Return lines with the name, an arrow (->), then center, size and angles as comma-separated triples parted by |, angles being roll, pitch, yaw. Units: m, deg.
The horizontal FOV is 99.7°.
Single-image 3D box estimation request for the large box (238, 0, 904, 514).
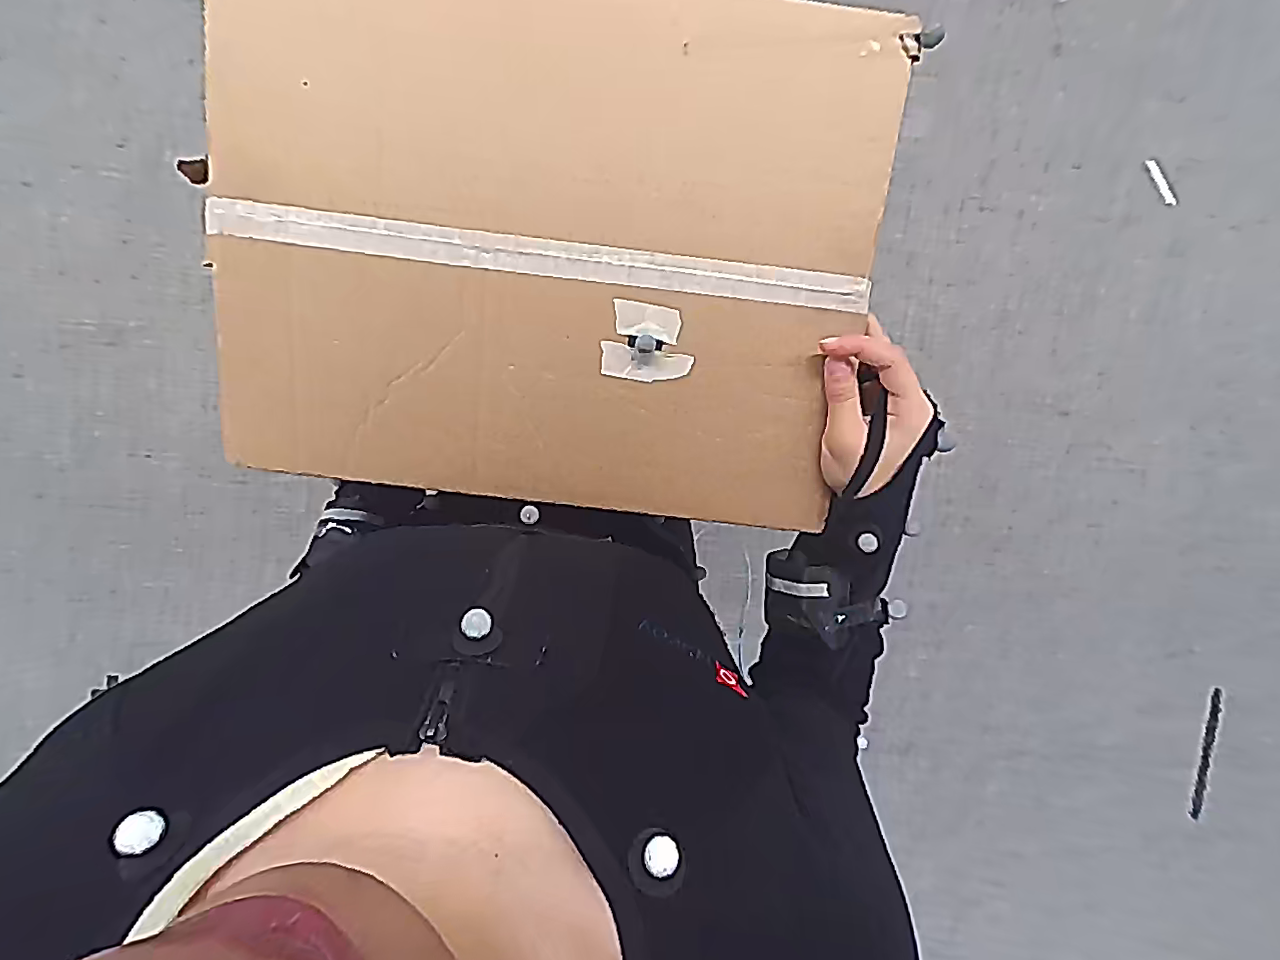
large box -> -0.056, -0.170, 0.492 | 0.408, 0.320, 0.320 | 6, 102, -3
